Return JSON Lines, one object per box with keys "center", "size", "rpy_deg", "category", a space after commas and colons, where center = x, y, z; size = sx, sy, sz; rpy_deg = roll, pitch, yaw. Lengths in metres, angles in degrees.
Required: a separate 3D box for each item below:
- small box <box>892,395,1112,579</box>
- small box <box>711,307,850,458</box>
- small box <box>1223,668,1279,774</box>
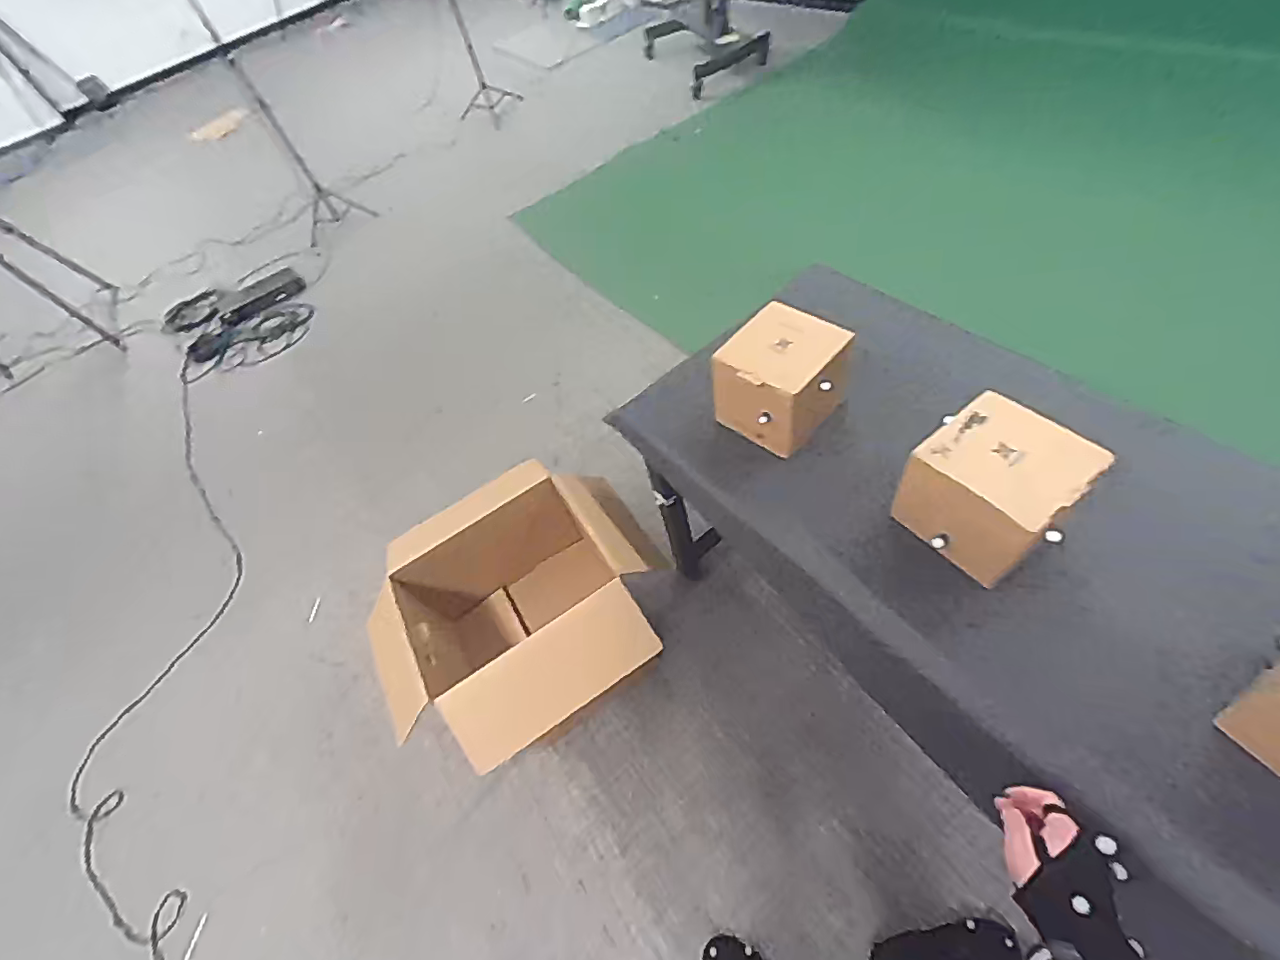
{"center": [0.499, 0.019, 0.777], "size": [0.168, 0.176, 0.179], "rpy_deg": [-35, 56, -13], "category": "small box"}
{"center": [0.250, -0.171, 0.973], "size": [0.168, 0.176, 0.179], "rpy_deg": [35, 67, 29], "category": "small box"}
{"center": [0.772, 0.256, 0.541], "size": [0.168, 0.176, 0.179], "rpy_deg": [-32, 55, -10], "category": "small box"}
